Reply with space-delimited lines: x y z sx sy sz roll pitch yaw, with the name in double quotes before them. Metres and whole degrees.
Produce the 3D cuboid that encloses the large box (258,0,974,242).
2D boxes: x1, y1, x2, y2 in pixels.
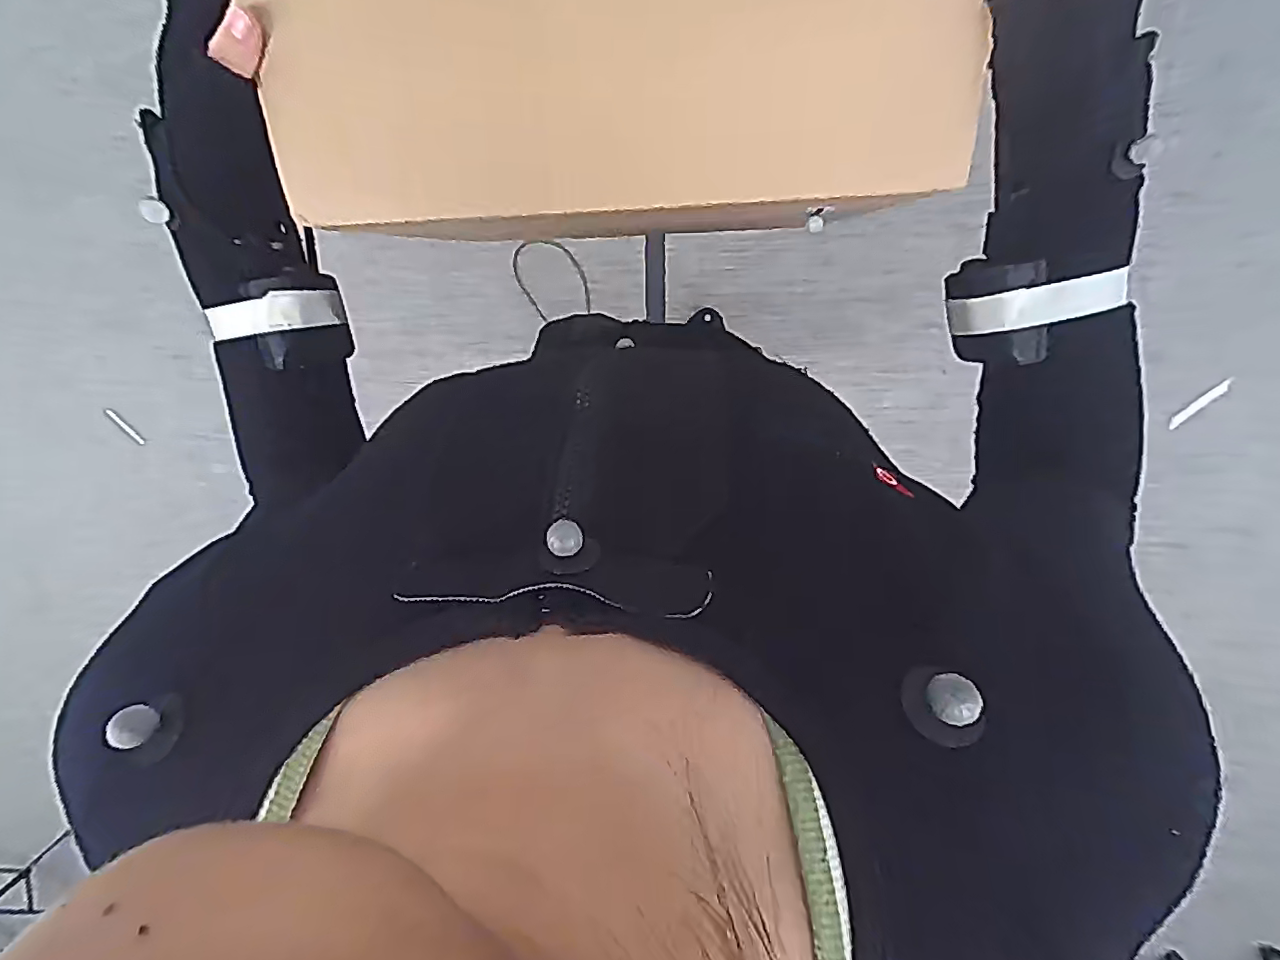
"large box" -0.011 -0.365 0.419 0.408 0.320 0.320 -1 111 3
